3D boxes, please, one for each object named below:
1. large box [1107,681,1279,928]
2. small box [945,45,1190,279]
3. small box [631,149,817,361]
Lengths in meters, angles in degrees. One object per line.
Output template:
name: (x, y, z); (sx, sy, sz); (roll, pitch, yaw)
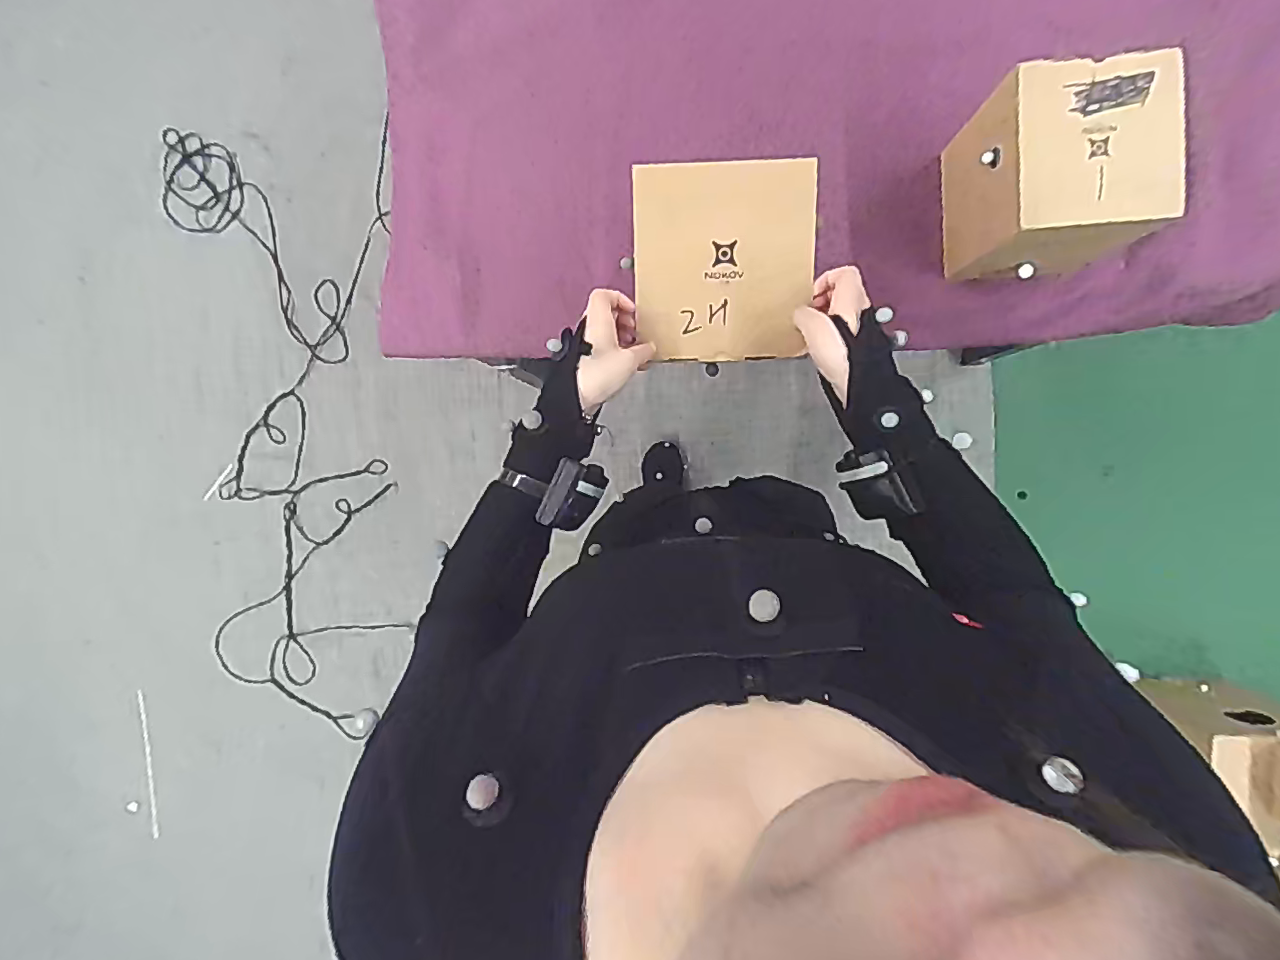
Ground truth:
large box: (1.373, 0.728, 1.268); (0.320, 0.320, 0.408); (-1, 93, 5)
small box: (0.482, -0.356, 0.636); (0.168, 0.176, 0.179); (-2, 92, 5)
small box: (0.077, -0.217, 0.565); (0.168, 0.176, 0.179); (0, 102, 4)
